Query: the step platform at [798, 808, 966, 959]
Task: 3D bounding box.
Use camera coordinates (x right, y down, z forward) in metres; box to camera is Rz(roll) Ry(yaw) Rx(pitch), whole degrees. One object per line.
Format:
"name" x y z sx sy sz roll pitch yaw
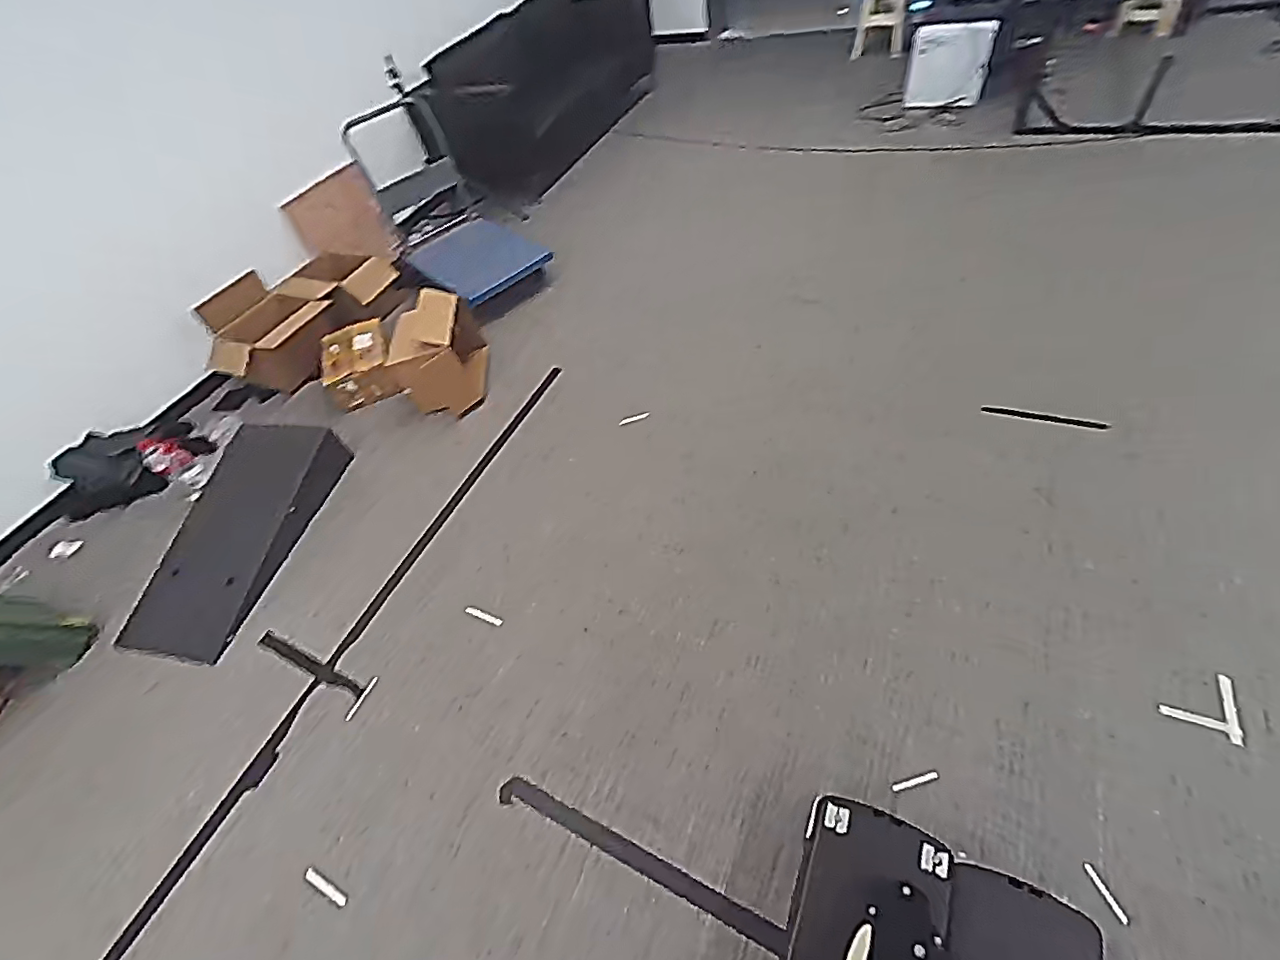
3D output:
"step platform" 0.441 1.048 1.061 0.286 0.204 0.684 14 55 22
